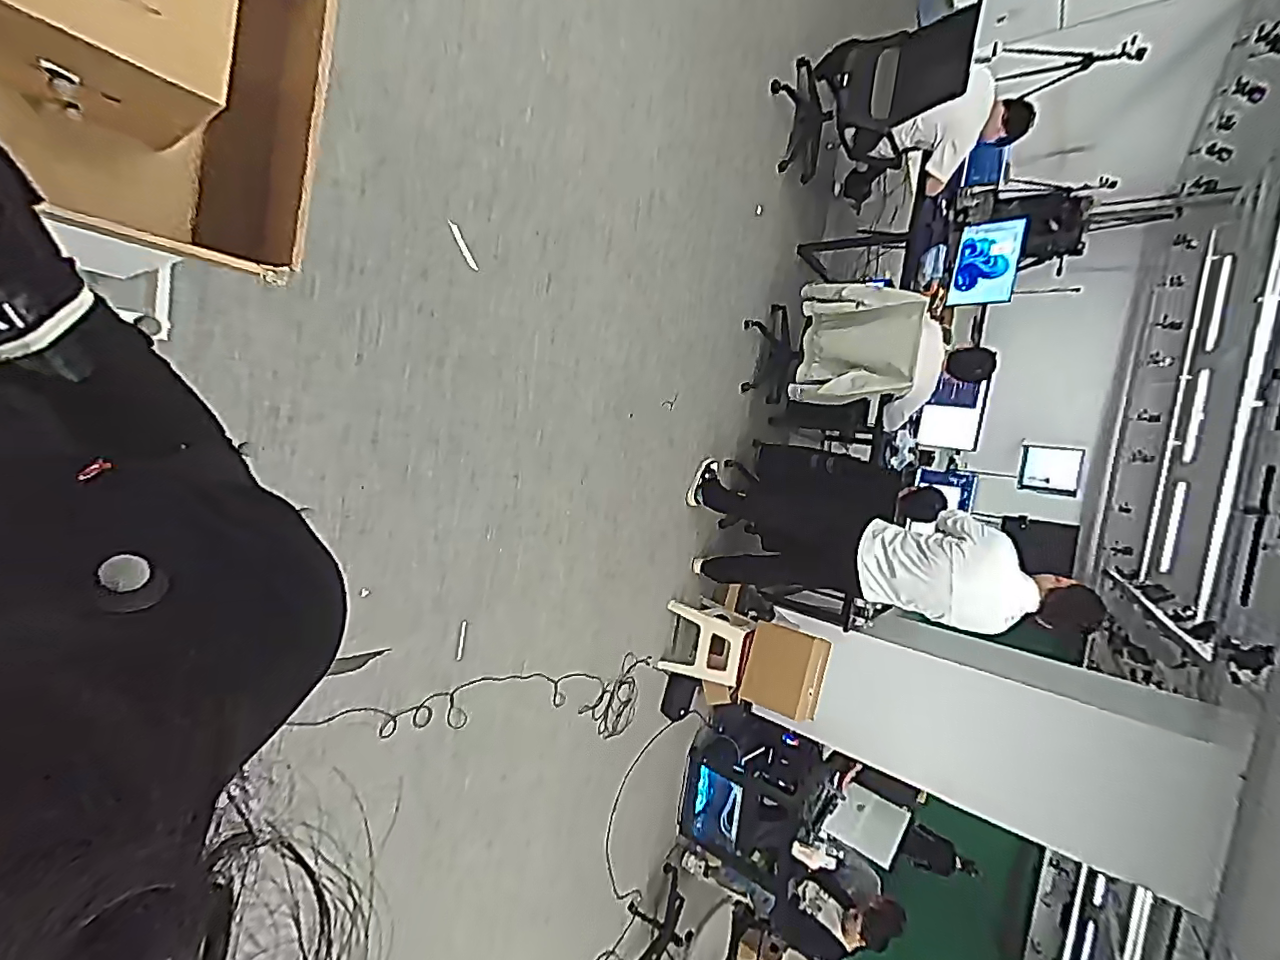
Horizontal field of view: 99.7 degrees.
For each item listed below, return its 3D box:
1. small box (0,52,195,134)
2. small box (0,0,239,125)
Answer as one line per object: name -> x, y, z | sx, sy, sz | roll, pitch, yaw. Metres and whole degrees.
small box -> -0.572, -0.482, 0.548 | 0.179, 0.176, 0.168 | 5, 100, -52
small box -> -0.452, -0.436, 0.447 | 0.168, 0.176, 0.179 | 5, 101, -50
